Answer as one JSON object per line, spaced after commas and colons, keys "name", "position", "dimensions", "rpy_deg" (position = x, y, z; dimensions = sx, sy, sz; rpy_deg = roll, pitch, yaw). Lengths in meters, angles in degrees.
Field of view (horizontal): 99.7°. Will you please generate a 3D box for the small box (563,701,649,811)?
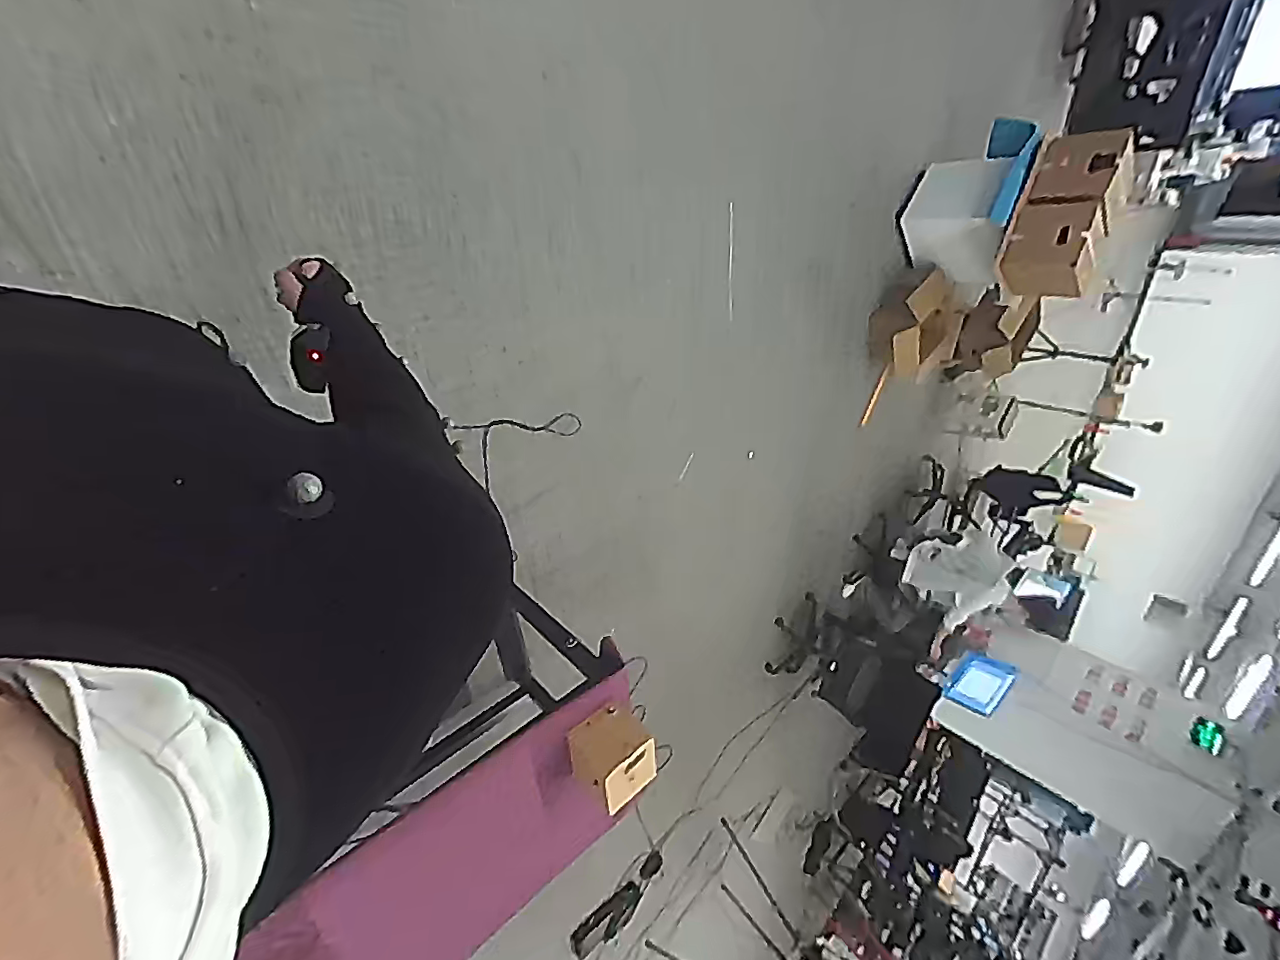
{"name": "small box", "position": [-0.094, 0.729, 1.457], "dimensions": [0.168, 0.176, 0.179], "rpy_deg": [-25, 127, -33]}
